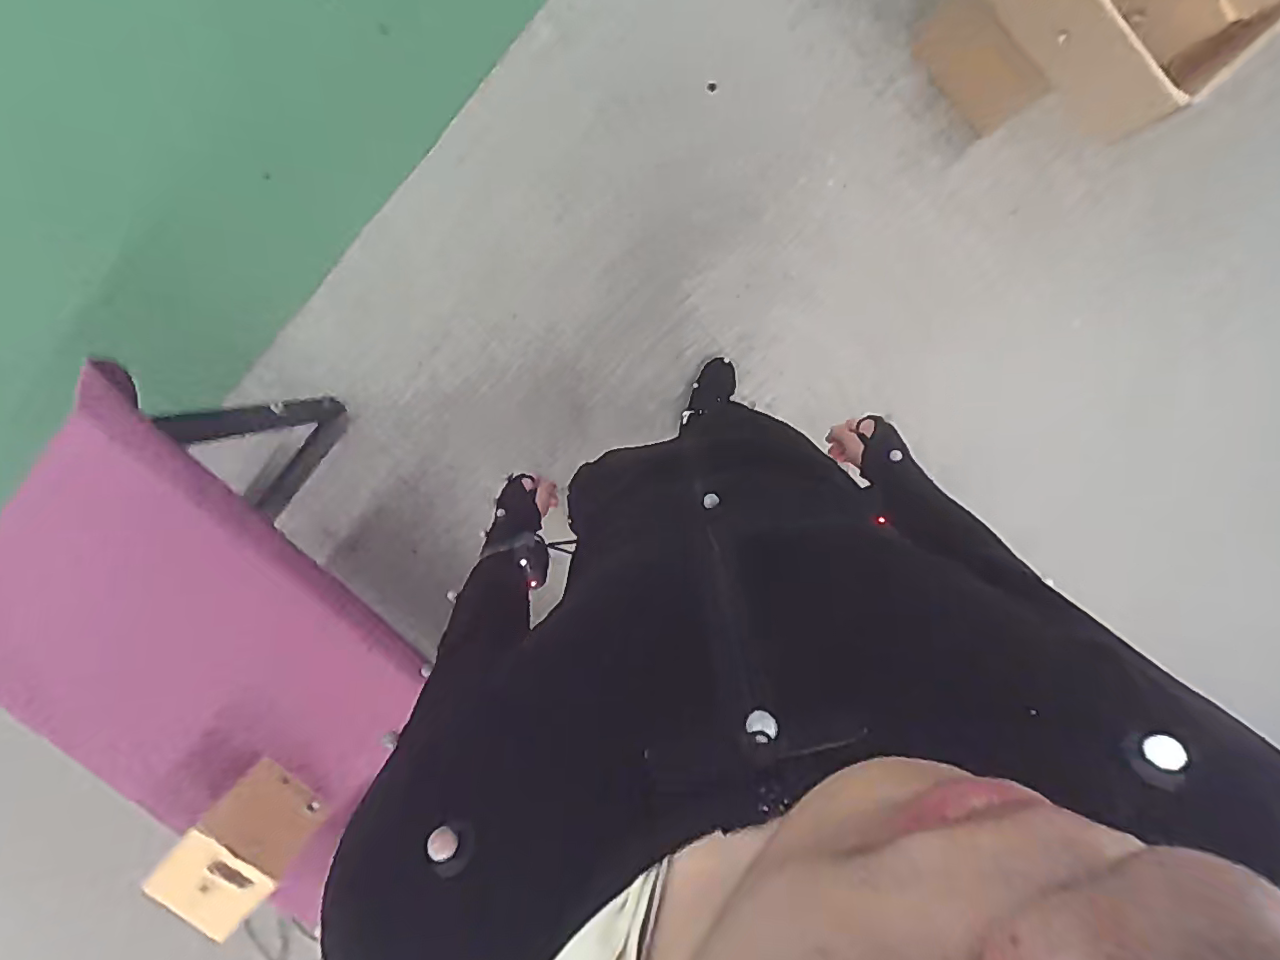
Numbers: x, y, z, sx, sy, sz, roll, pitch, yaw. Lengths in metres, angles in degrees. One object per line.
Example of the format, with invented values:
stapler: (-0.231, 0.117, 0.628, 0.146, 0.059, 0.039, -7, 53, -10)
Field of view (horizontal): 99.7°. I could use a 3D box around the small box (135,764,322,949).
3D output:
small box: (-0.709, 0.653, 0.958, 0.168, 0.176, 0.179, 42, 100, -7)
